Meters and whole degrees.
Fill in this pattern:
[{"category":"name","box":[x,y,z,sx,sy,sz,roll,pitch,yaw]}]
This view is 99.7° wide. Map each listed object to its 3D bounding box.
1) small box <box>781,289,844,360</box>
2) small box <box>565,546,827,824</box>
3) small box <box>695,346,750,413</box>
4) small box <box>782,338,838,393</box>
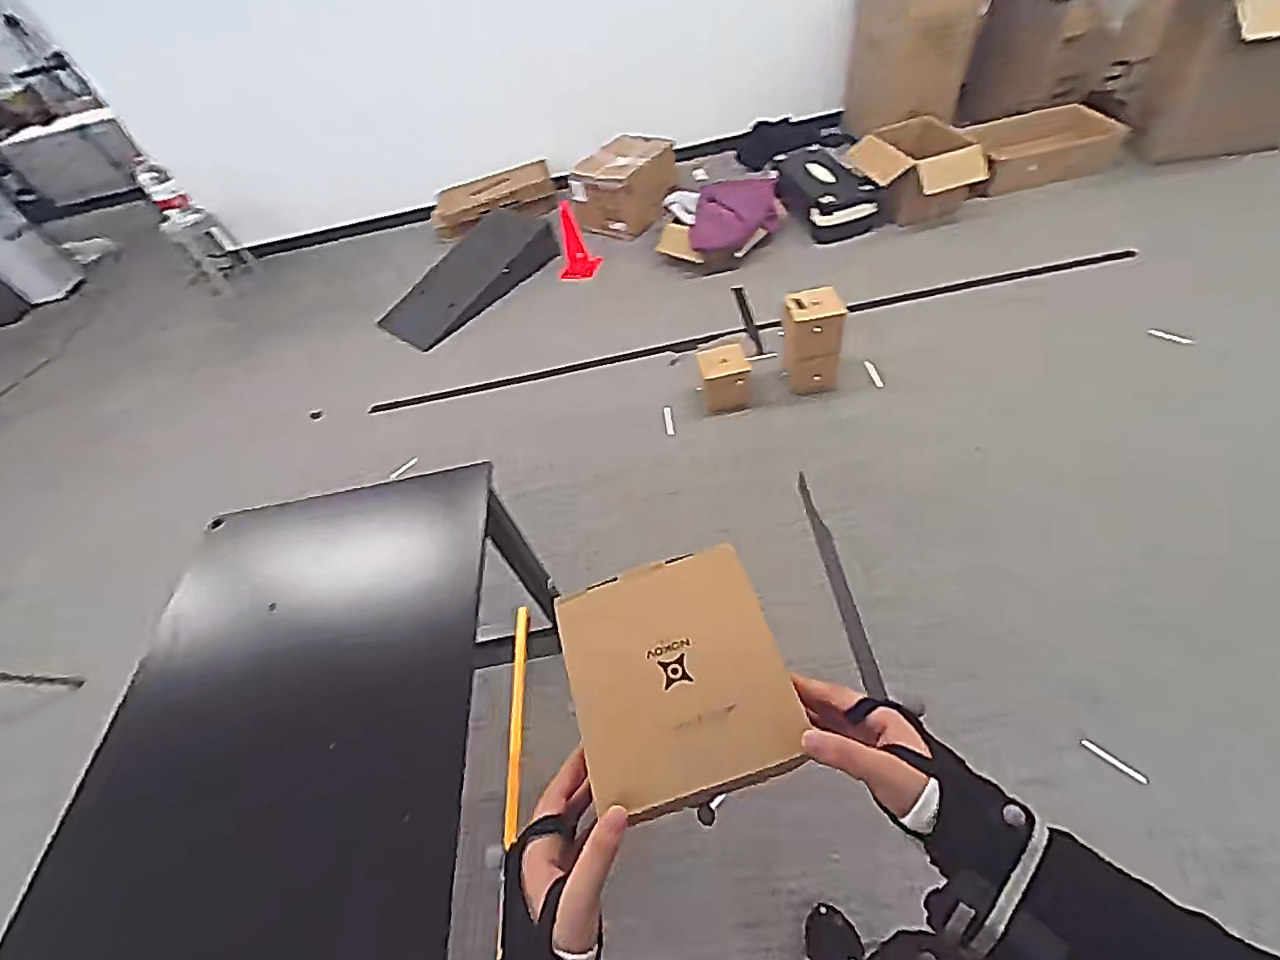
[{"category":"small box","box":[0.606,-0.549,1.925,0.179,0.176,0.168,-10,50,3]},{"category":"small box","box":[0.043,0.190,0.489,0.168,0.176,0.179,-17,57,-2]},{"category":"small box","box":[0.317,-0.383,2.068,0.179,0.176,0.168,-13,50,3]},{"category":"small box","box":[0.639,-0.446,2.051,0.168,0.176,0.179,-9,51,5]}]
